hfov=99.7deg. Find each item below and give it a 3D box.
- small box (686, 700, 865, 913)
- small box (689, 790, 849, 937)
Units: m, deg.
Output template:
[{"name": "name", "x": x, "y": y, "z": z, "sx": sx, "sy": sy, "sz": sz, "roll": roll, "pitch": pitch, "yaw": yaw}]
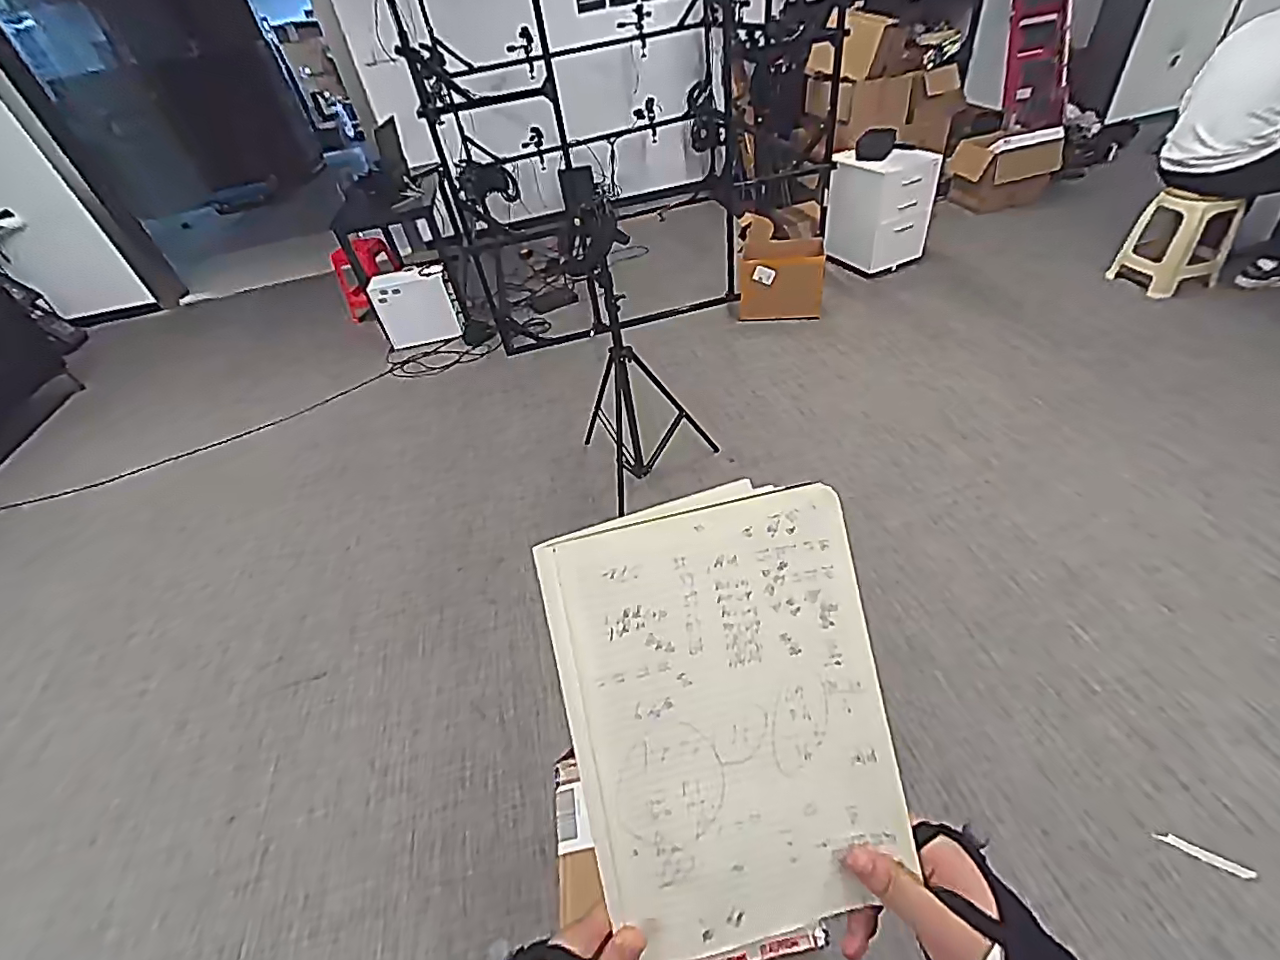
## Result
[{"name": "small box", "x": 0.161, "y": 0.425, "z": 0.707, "sx": 0.168, "sy": 0.176, "sz": 0.179, "roll": -13, "pitch": 43, "yaw": -6}, {"name": "small box", "x": 0.181, "y": 0.550, "z": 0.812, "sx": 0.179, "sy": 0.176, "sz": 0.168, "roll": -15, "pitch": 43, "yaw": -7}]
